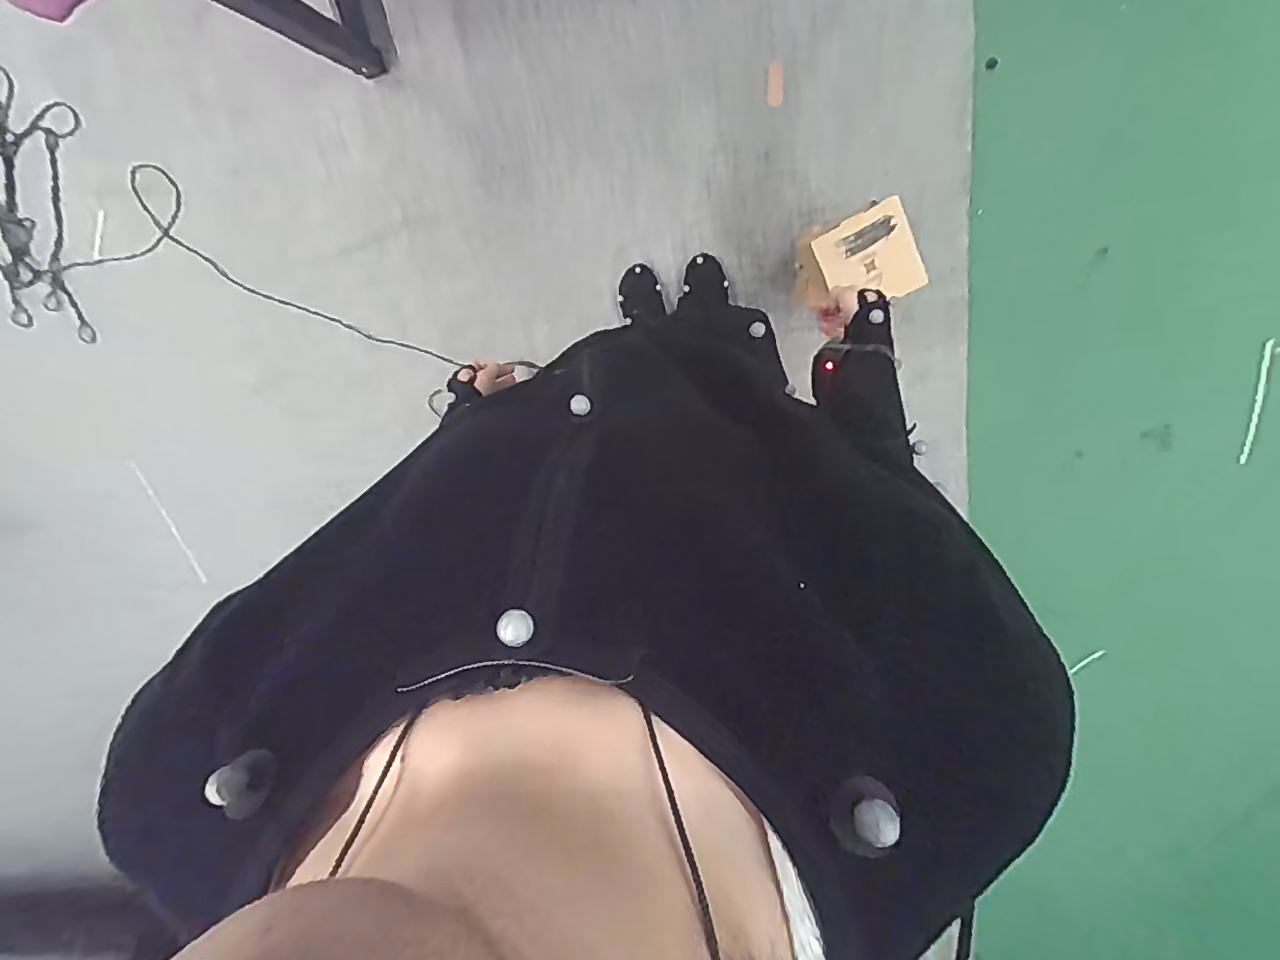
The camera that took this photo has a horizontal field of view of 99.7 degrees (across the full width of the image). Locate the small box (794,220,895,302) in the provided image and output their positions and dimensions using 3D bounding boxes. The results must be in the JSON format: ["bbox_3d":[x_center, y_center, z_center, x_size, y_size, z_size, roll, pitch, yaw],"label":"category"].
[{"bbox_3d":[0.453,-0.497,1.231,0.179,0.176,0.168,2,114,6],"label":"small box"}]
